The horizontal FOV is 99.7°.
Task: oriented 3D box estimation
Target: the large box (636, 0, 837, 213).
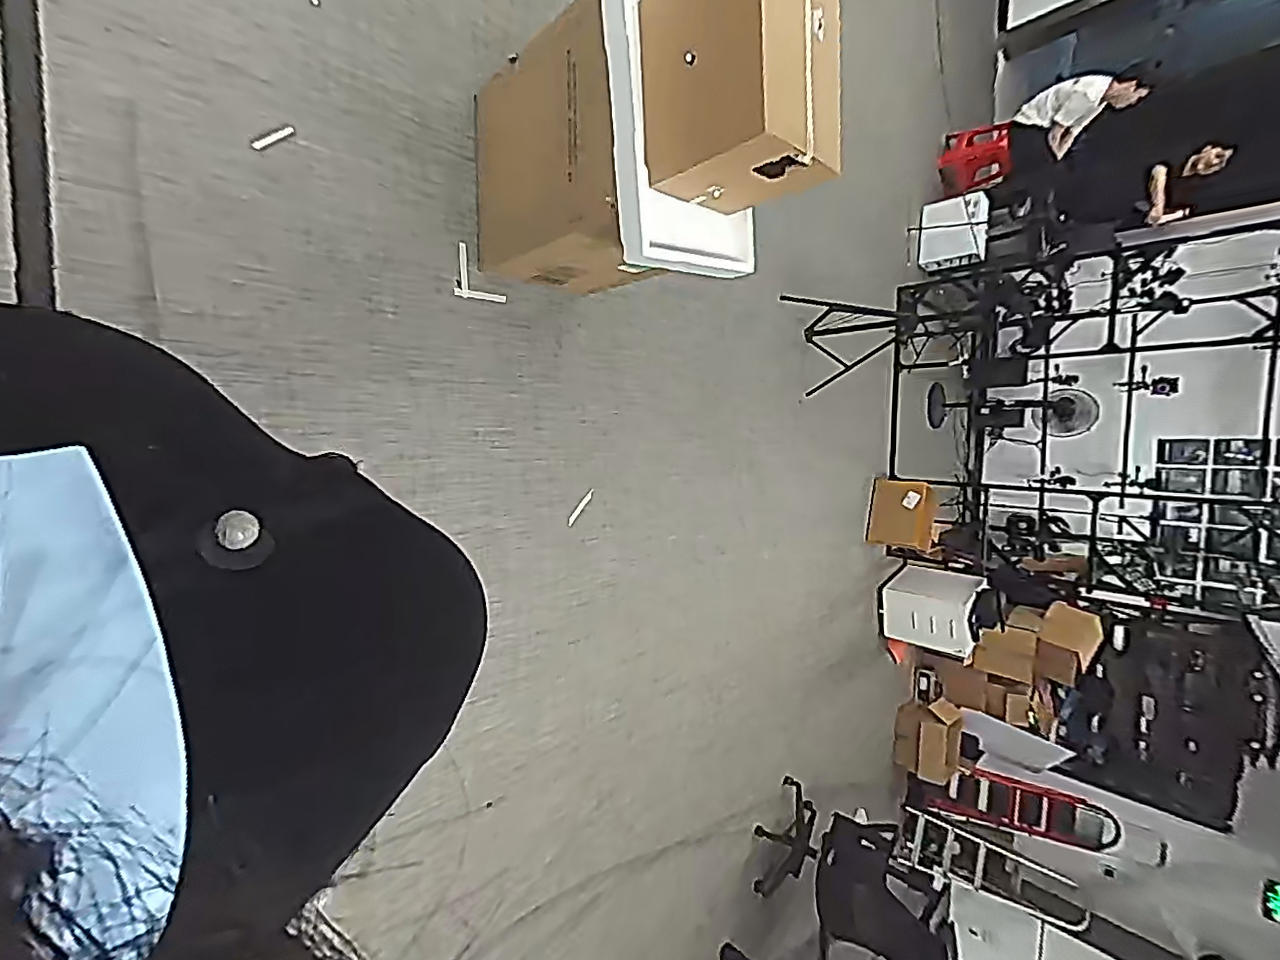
[{"bbox_3d":[0.214,-0.862,1.185,0.320,0.320,0.408,-11,100,-45],"label":"large box"}]
